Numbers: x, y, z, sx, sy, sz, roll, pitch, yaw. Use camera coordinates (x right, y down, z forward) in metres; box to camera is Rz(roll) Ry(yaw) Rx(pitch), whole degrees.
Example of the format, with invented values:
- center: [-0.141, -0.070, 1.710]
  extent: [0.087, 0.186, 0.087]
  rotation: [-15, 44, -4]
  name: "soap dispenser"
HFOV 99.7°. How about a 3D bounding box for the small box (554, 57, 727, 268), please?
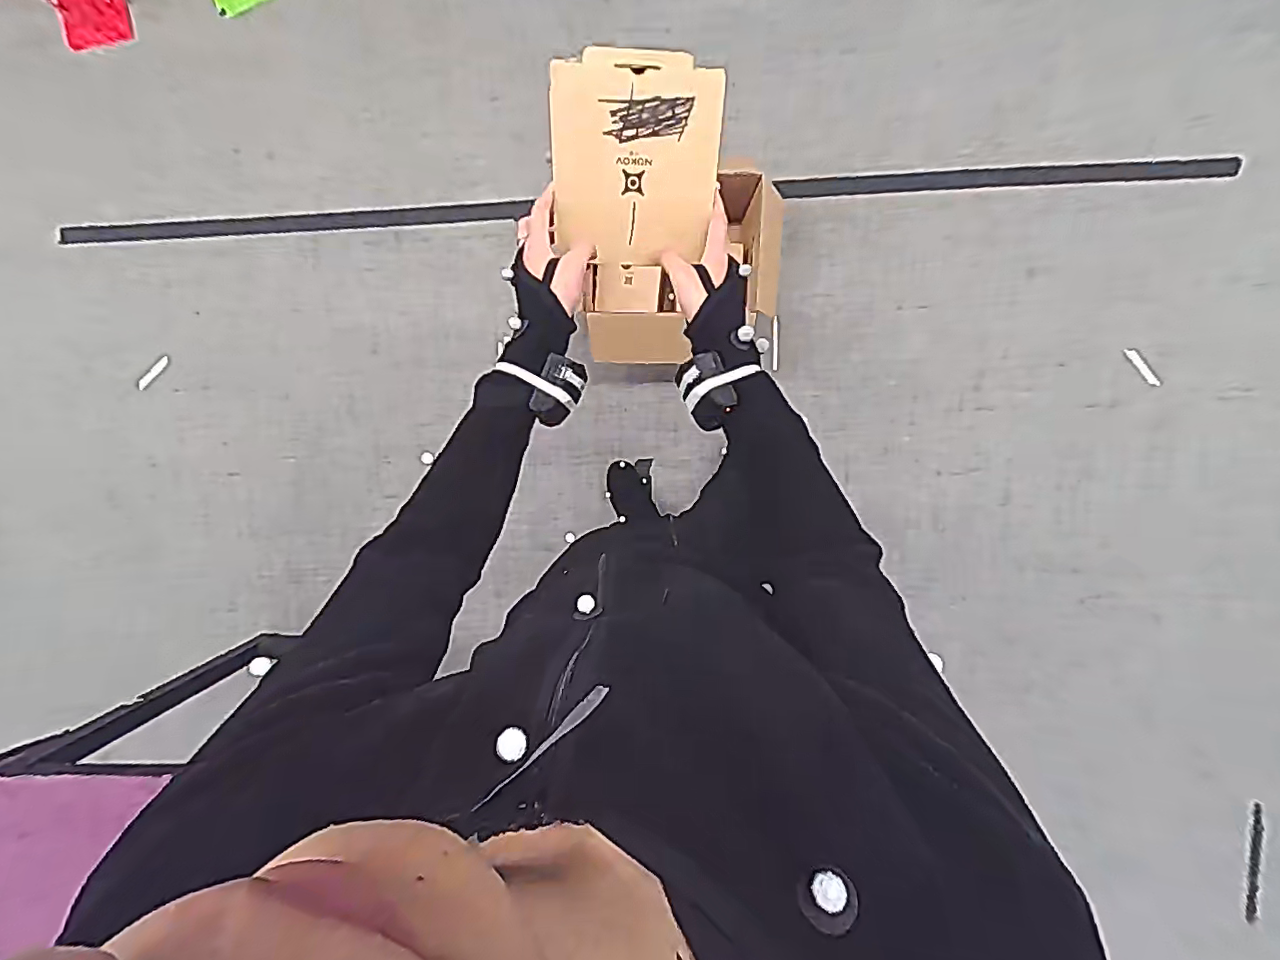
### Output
- center: [-0.006, -0.345, 0.608]
  extent: [0.168, 0.176, 0.179]
  rotation: [2, 118, -2]
  name: "small box"
